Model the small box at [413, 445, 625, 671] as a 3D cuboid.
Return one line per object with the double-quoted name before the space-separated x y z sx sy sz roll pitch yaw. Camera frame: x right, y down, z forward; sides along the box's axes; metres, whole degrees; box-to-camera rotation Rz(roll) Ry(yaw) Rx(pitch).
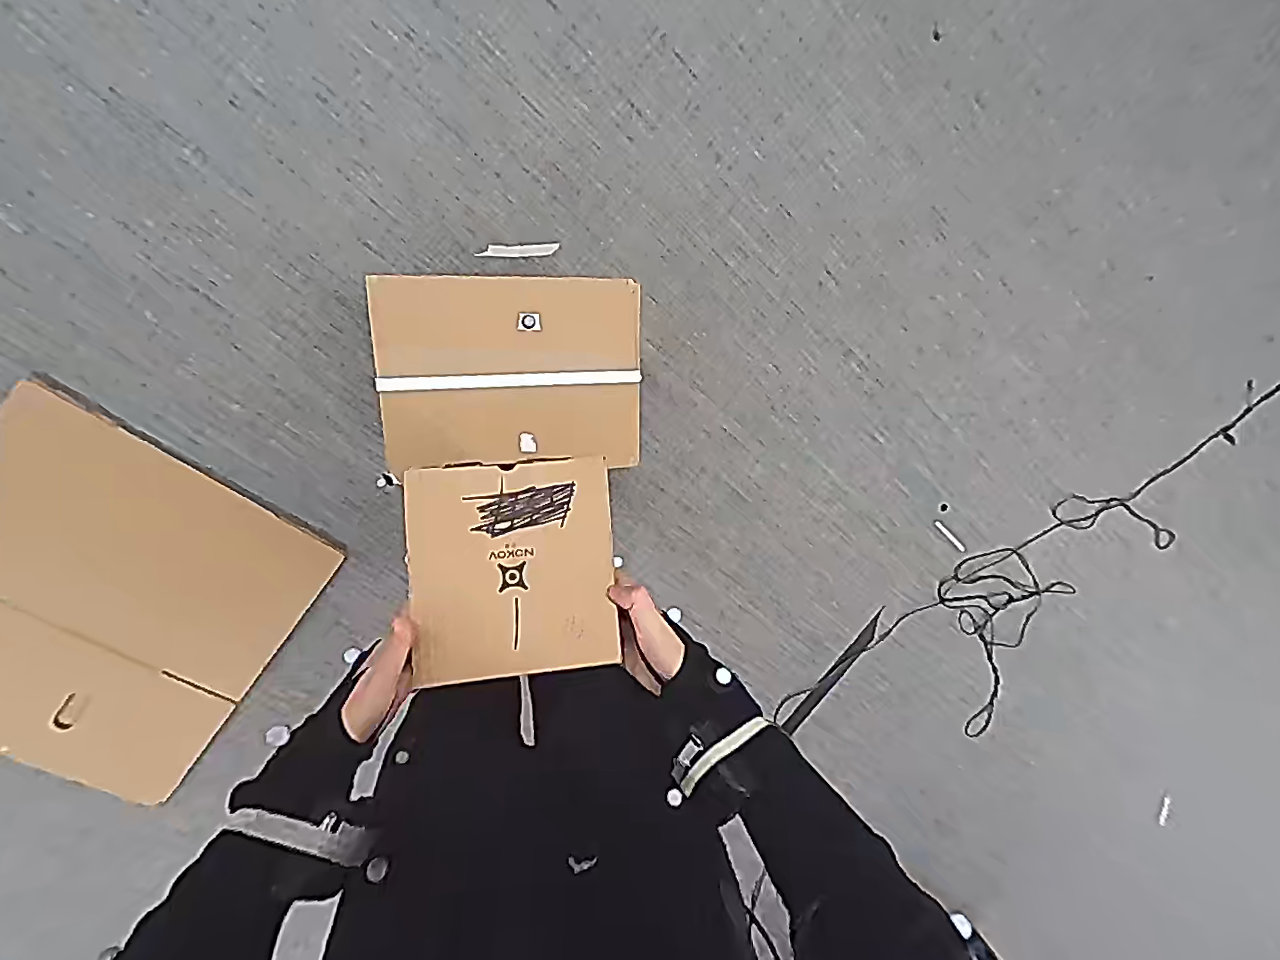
"small box" -0.113 0.070 0.526 0.168 0.176 0.179 -5 84 -9
